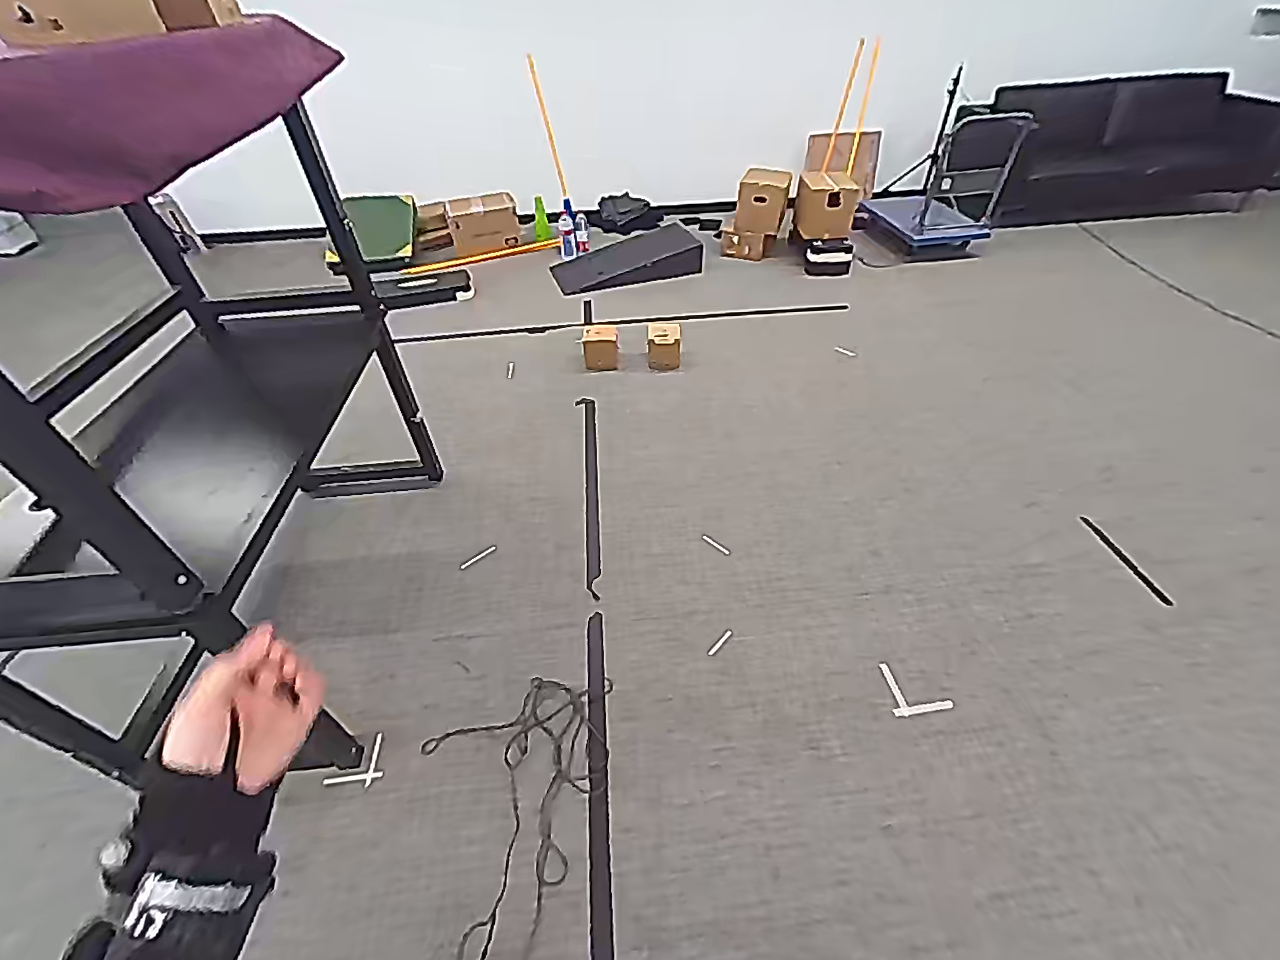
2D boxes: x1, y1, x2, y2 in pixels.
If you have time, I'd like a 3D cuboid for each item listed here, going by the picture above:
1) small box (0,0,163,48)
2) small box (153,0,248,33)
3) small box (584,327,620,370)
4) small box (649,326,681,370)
[{"bbox_3d":[-0.951,-0.825,0.889,0.168,0.176,0.179,-3,43,1],"label":"small box"},{"bbox_3d":[-0.963,-1.034,1.110,0.179,0.176,0.168,-9,44,-6],"label":"small box"},{"bbox_3d":[-0.198,-0.692,2.864,0.179,0.176,0.168,0,43,0],"label":"small box"},{"bbox_3d":[0.134,-0.696,2.859,0.168,0.176,0.179,0,42,1],"label":"small box"}]
